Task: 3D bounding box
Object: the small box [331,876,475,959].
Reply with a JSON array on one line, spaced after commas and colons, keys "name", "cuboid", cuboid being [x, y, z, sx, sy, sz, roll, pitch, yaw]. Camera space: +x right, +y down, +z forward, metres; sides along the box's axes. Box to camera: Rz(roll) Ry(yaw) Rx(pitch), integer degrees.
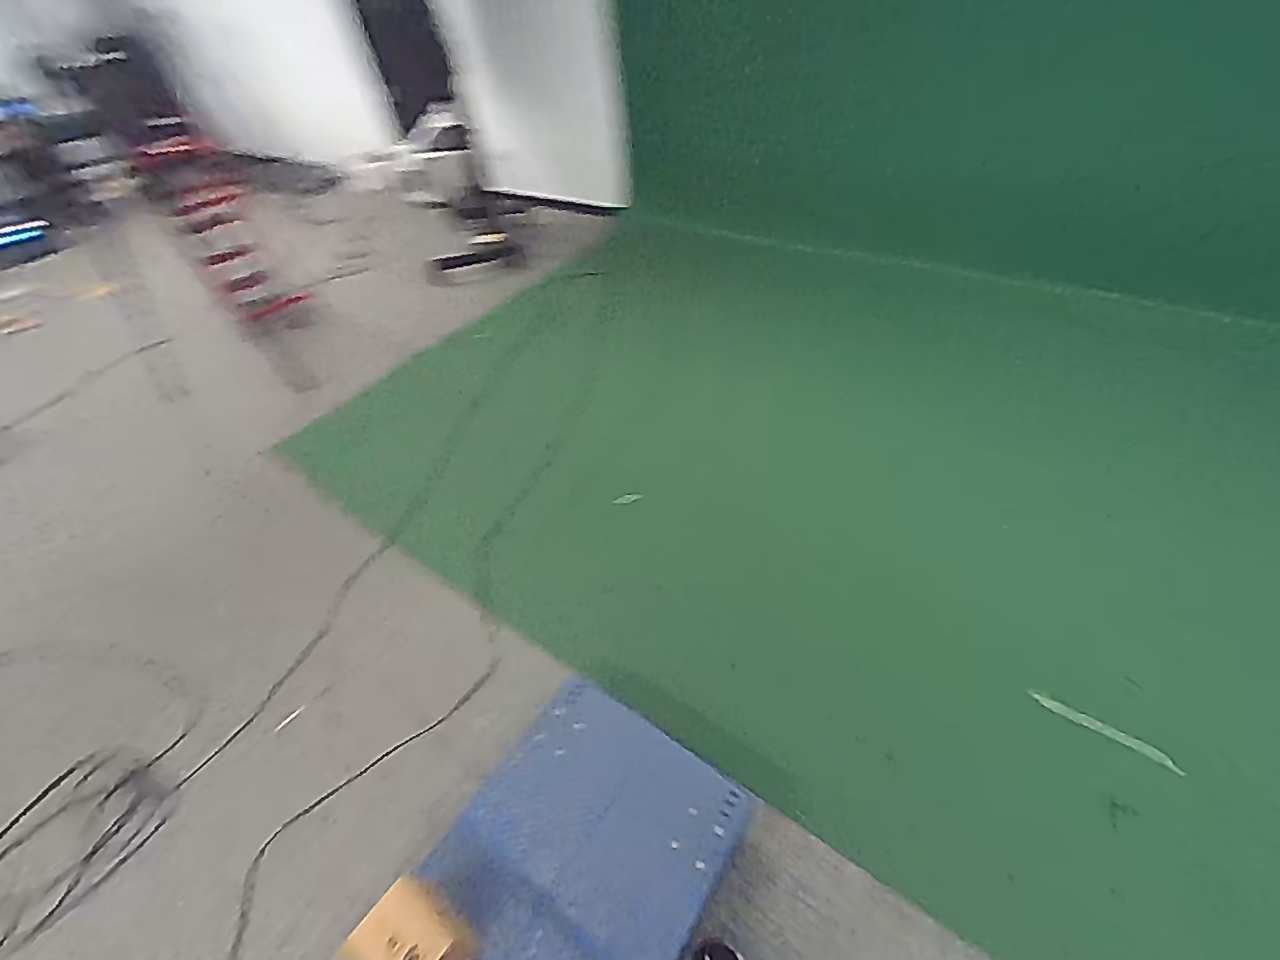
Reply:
[{"name": "small box", "cuboid": [-0.460, 0.938, 1.075, 0.179, 0.176, 0.168, 25, 55, 29]}]
